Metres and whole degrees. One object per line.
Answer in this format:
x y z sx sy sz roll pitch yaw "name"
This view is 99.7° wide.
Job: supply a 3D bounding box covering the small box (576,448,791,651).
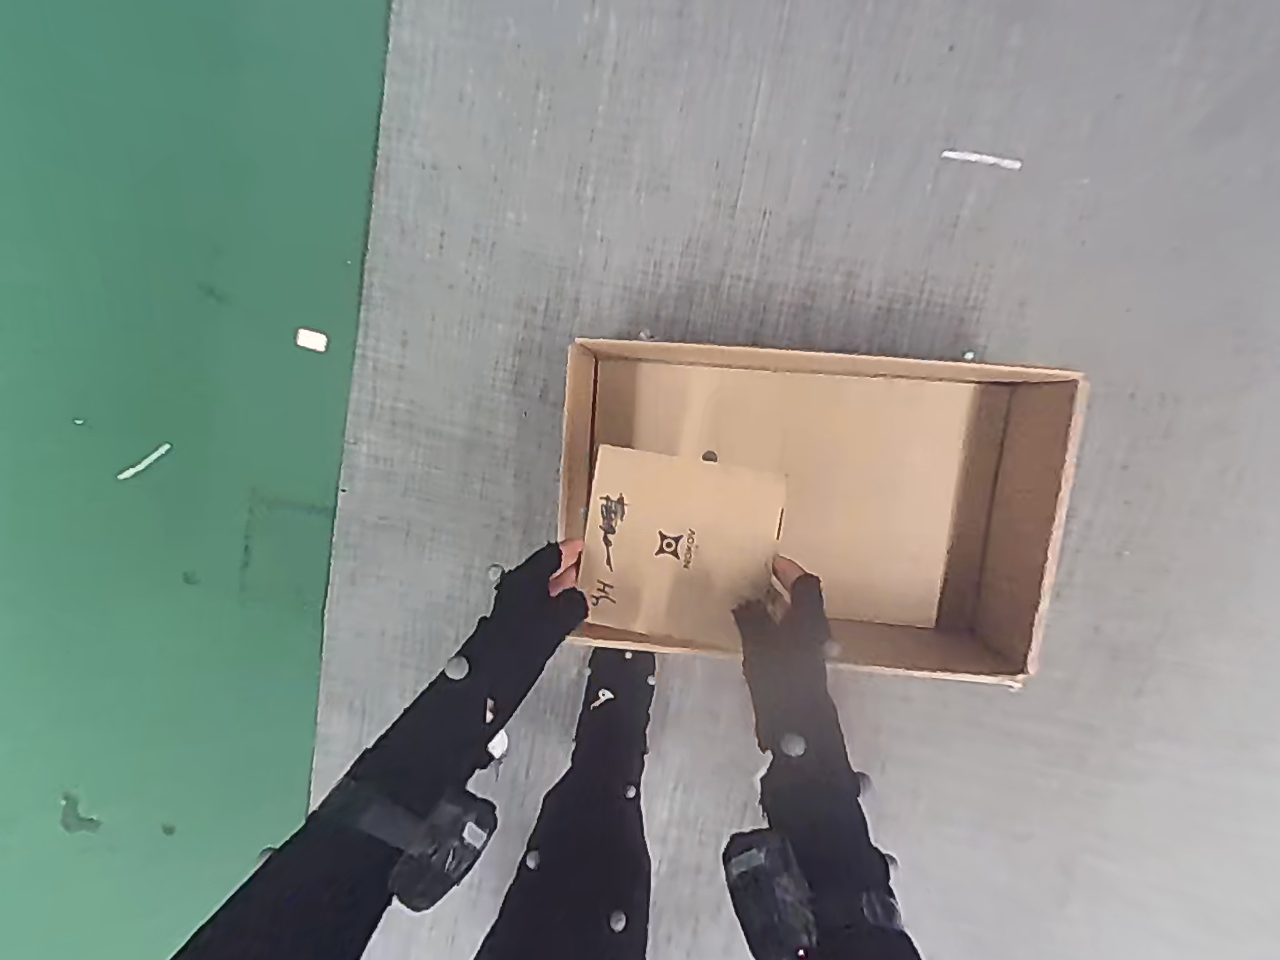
0.045 0.062 0.575 0.179 0.176 0.168 10 91 5 "small box"
